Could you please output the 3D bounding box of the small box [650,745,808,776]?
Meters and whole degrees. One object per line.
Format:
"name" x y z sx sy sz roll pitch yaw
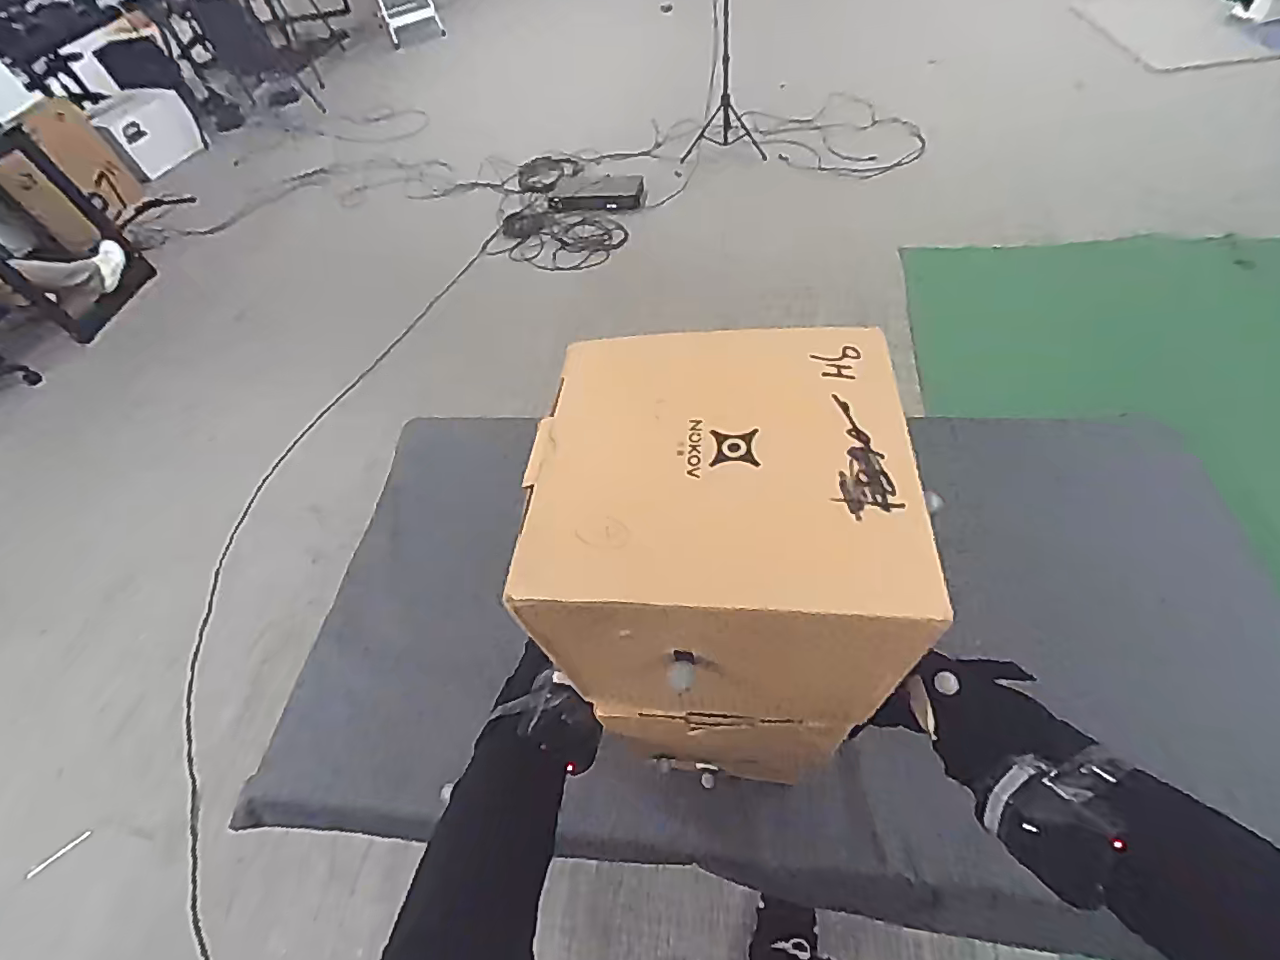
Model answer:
"small box" 0.091 0.212 0.601 0.168 0.176 0.179 1 56 11

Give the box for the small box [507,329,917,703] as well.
"small box" 0.042 0.030 0.336 0.179 0.176 0.168 -2 52 8

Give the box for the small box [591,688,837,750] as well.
"small box" 0.061 0.127 0.463 0.168 0.176 0.179 -4 54 8
